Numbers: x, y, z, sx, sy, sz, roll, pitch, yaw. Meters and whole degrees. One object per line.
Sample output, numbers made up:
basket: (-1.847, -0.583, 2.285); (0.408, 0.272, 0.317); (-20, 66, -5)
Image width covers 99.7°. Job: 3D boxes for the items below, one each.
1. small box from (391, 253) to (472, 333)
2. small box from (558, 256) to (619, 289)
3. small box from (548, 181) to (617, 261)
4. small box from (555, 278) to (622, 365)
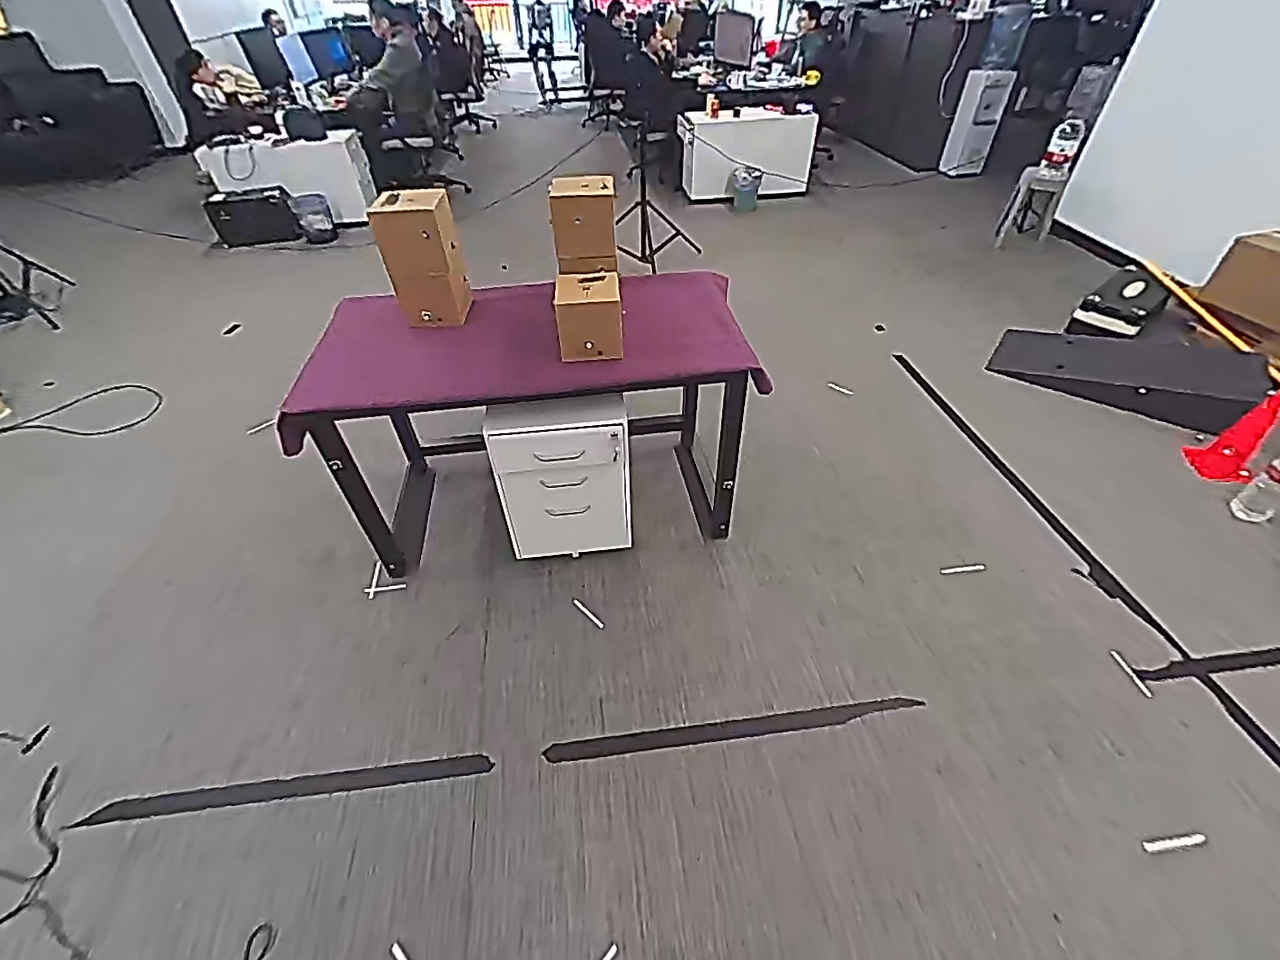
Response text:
small box: (-0.613, -0.560, 1.620); (0.168, 0.176, 0.179); (-3, 46, 0)
small box: (-0.155, -0.624, 1.670); (0.179, 0.176, 0.168); (-4, 44, -2)
small box: (-0.161, -0.743, 1.558); (0.179, 0.176, 0.168); (-4, 45, -1)
small box: (-0.136, -0.430, 1.464); (0.168, 0.176, 0.179); (-5, 43, -2)
